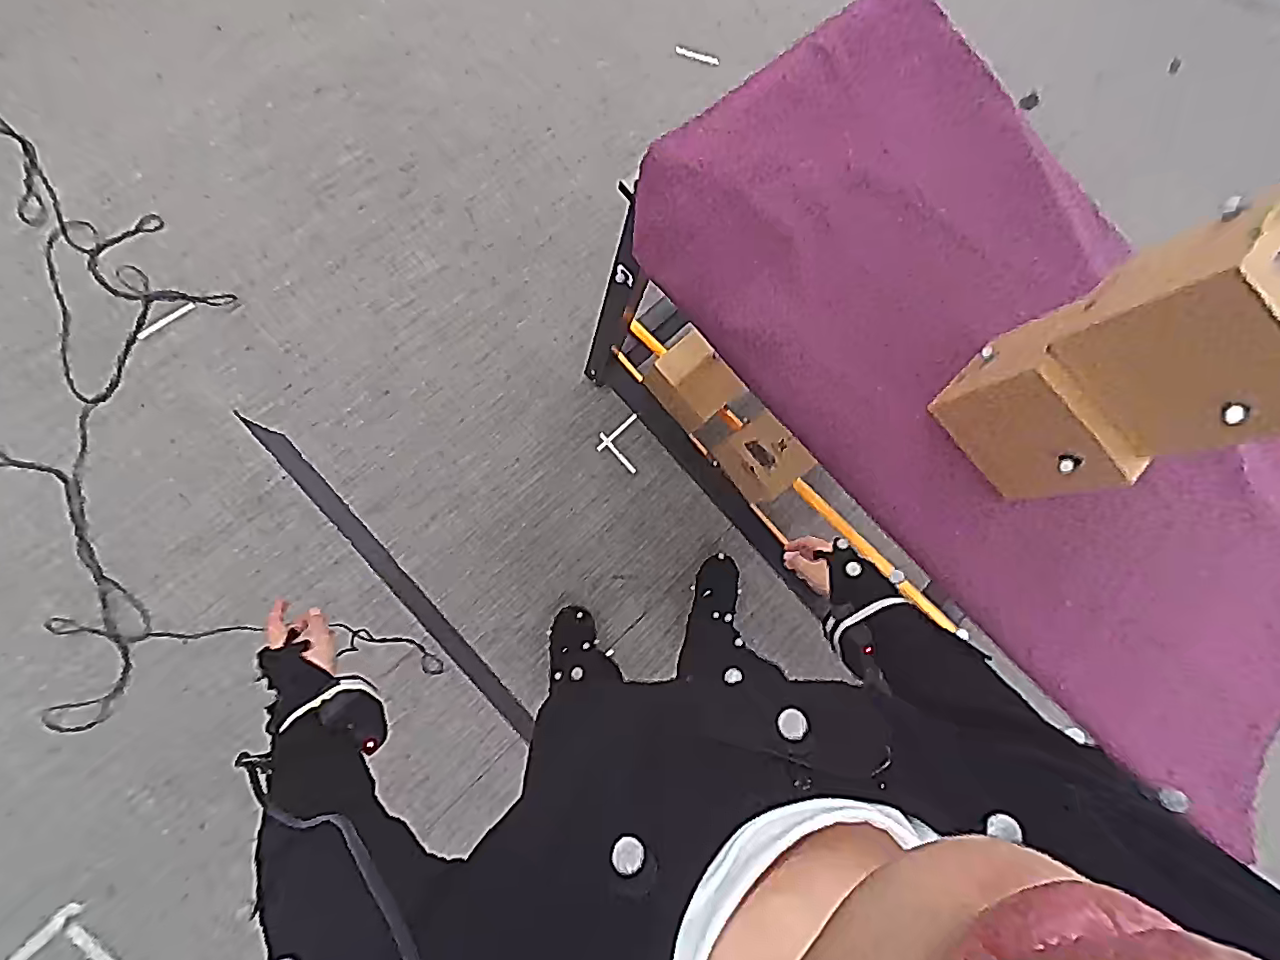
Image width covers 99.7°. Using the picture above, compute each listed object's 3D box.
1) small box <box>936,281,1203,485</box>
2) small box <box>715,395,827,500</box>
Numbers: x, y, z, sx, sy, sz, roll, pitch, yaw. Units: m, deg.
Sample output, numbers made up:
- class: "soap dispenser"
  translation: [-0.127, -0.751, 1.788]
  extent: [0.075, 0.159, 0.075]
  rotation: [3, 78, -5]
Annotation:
- class: "small box"
  translation: [0.533, -0.108, 0.692]
  extent: [0.168, 0.176, 0.179]
  rotation: [-42, 91, -15]
- class: "small box"
  translation: [0.296, -0.067, 1.278]
  extent: [0.179, 0.176, 0.168]
  rotation: [-37, 91, -14]
